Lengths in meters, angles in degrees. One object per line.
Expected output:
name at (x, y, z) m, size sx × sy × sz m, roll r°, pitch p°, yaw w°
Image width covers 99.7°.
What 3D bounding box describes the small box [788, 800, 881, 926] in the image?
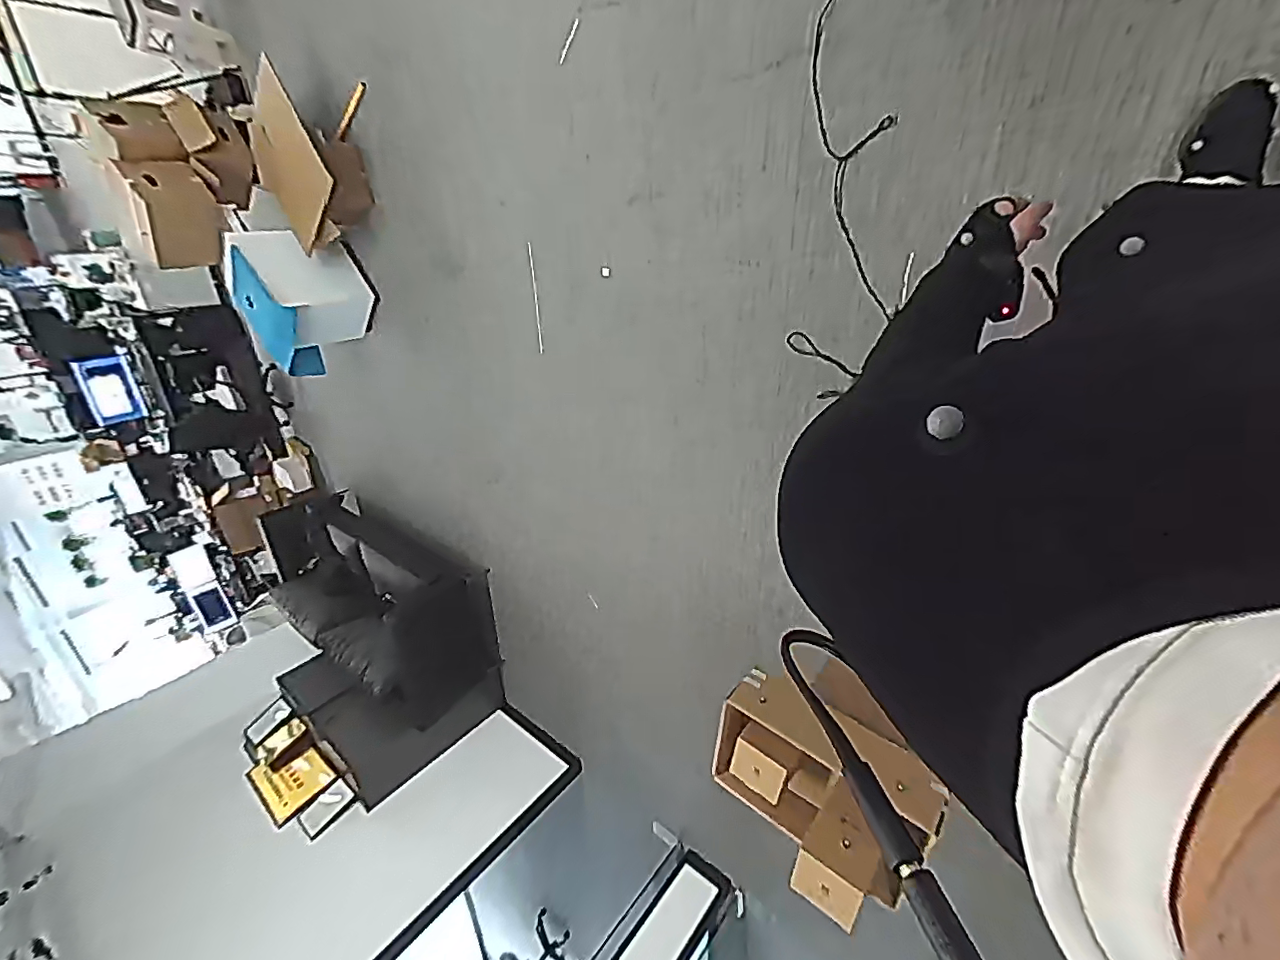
small box at (0.516, 0.999, 1.426) m, size 0.168 × 0.176 × 0.179 m, roll 23°, pitch 123°, yaw 34°
